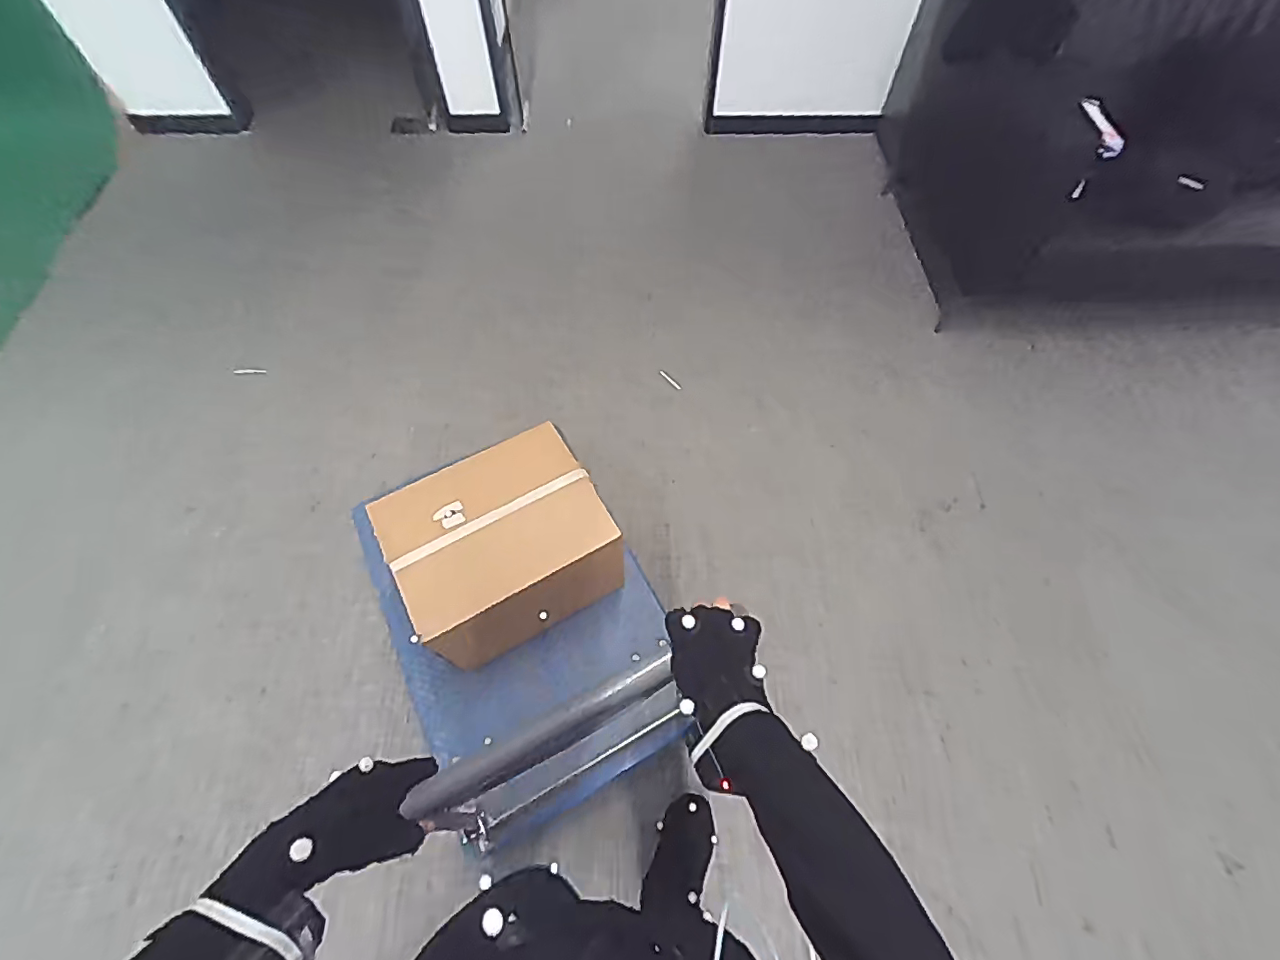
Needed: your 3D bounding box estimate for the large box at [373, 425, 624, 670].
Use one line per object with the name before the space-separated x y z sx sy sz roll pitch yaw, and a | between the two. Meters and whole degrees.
large box | -0.280 0.153 1.178 0.408 0.320 0.320 -28 65 -15
